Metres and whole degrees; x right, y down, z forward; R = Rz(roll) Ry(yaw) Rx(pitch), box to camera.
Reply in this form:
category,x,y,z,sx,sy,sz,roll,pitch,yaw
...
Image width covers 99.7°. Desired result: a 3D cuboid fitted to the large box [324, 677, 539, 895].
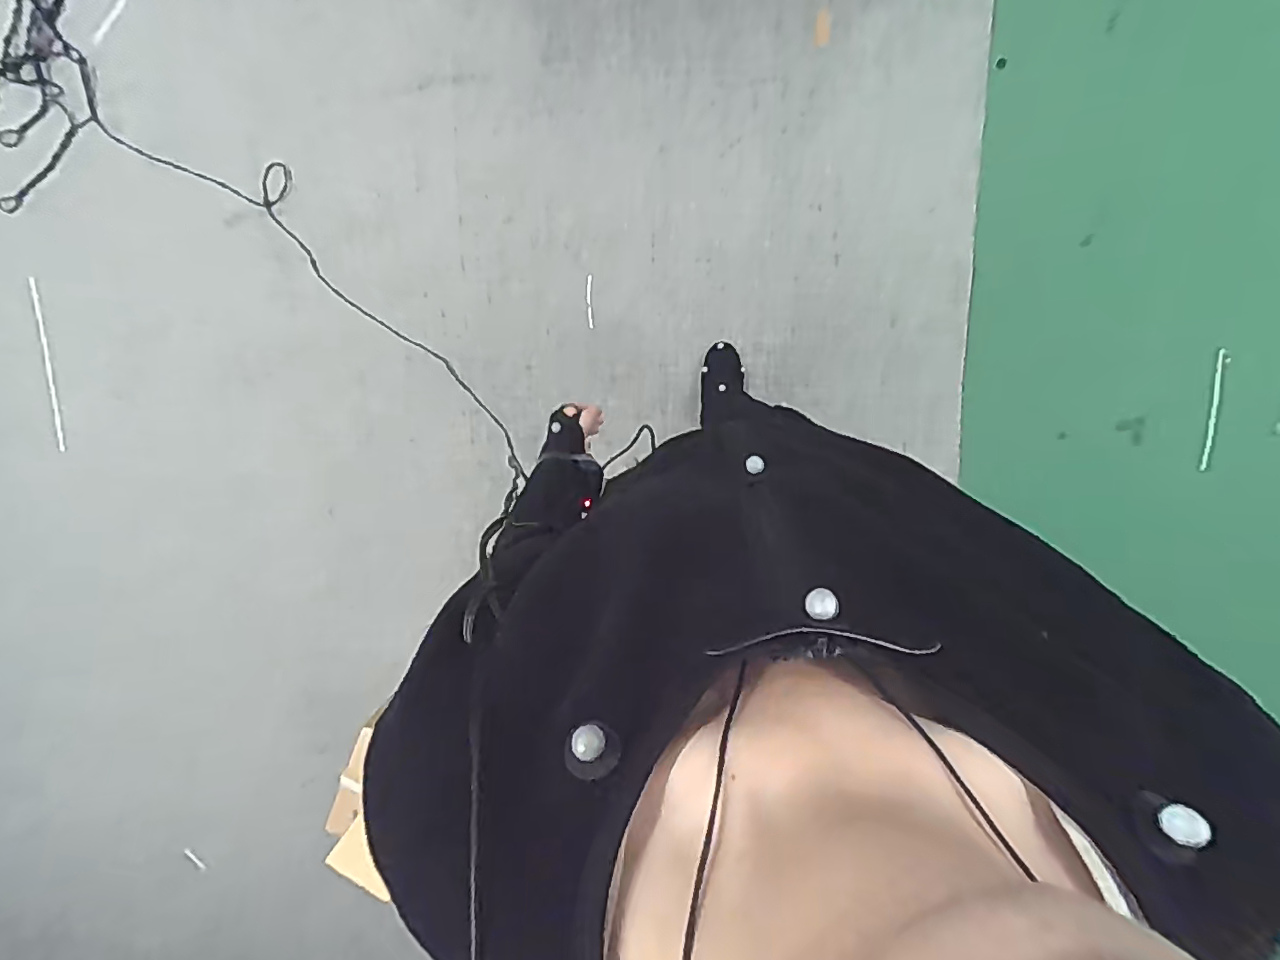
category,x,y,z,sx,sy,sz,roll,pitch,yaw
large box,-0.537,0.799,1.461,0.408,0.320,0.320,23,98,-2

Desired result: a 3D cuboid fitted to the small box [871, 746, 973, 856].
category,x,y,z,sx,sy,sz,roll,pitch,yaw
small box,0.635,0.721,1.162,0.168,0.176,0.179,-33,94,4
